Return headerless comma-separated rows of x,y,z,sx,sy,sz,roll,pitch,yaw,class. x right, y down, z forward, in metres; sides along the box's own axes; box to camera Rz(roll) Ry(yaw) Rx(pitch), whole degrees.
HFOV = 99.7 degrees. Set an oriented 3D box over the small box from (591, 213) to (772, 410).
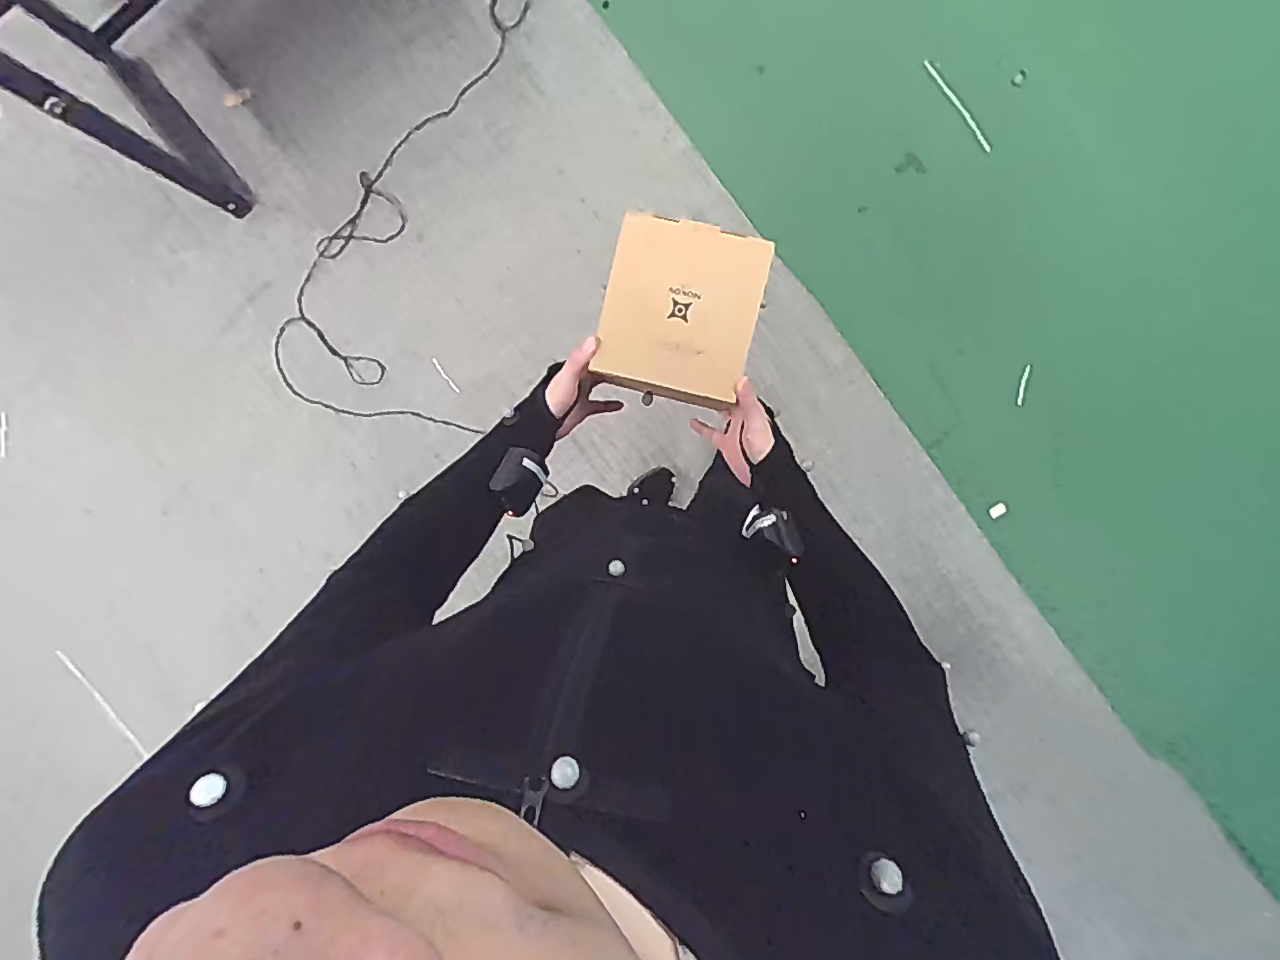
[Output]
0.045,-0.190,0.662,0.168,0.176,0.179,13,96,1,small box
